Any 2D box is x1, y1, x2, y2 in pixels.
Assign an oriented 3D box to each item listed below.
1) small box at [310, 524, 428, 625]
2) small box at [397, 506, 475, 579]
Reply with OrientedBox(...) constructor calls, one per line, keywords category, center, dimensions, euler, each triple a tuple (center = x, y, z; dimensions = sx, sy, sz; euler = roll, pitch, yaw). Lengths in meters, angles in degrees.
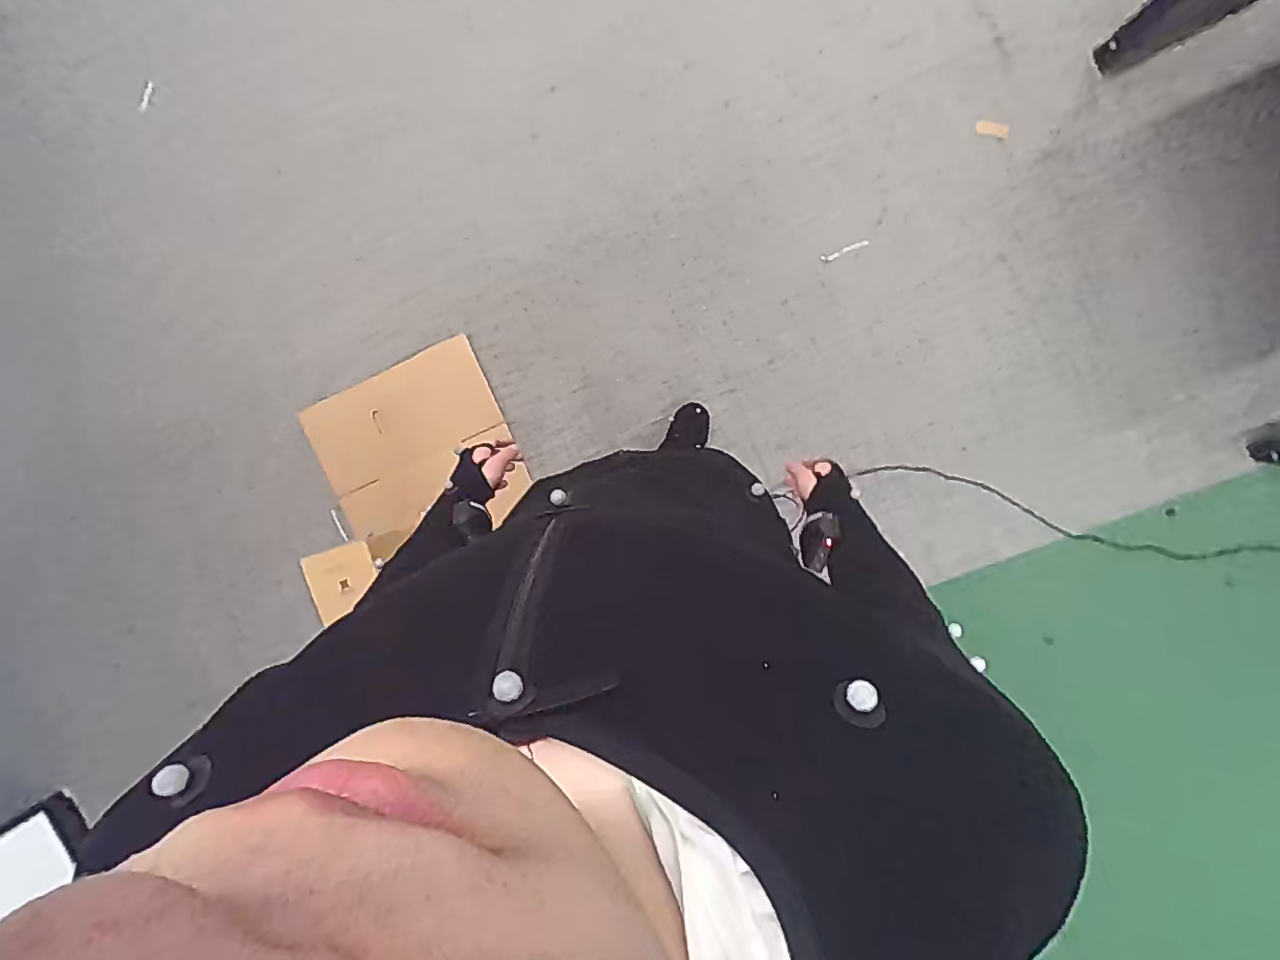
OrientedBox(category="small box", center=(-0.644, 0.222, 1.305), dimensions=(0.168, 0.176, 0.179), euler=(-16, 95, 7))
OrientedBox(category="small box", center=(-0.625, 0.193, 1.631), dimensions=(0.168, 0.176, 0.179), euler=(-19, 94, 8))
